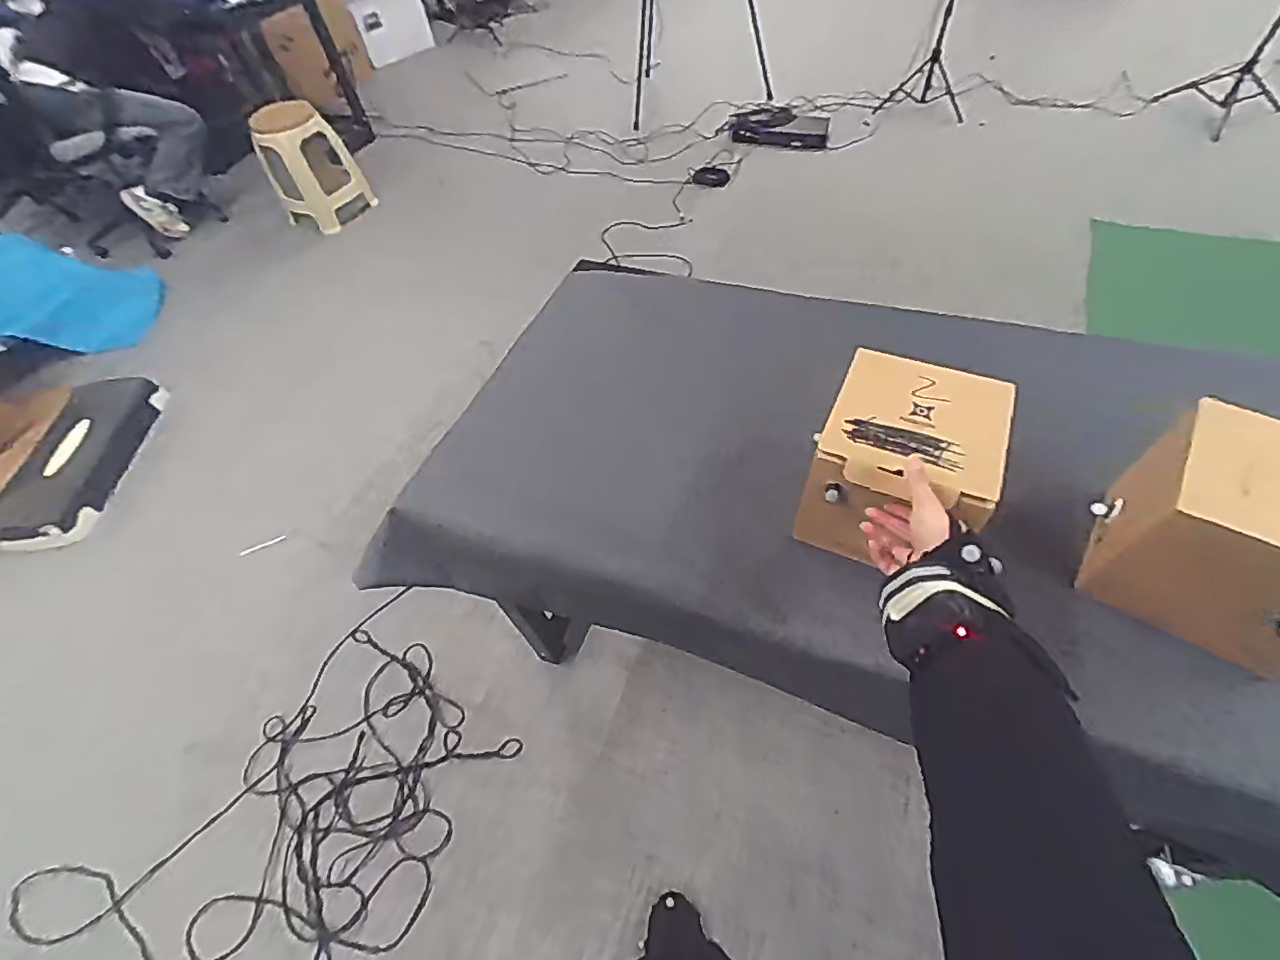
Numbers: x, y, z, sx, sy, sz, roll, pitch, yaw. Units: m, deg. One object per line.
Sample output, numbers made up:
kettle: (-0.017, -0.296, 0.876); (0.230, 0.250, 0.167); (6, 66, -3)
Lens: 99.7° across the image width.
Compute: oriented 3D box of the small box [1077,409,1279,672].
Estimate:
small box: (0.595, 0.066, 0.539); (0.179, 0.176, 0.168); (29, 61, 25)
